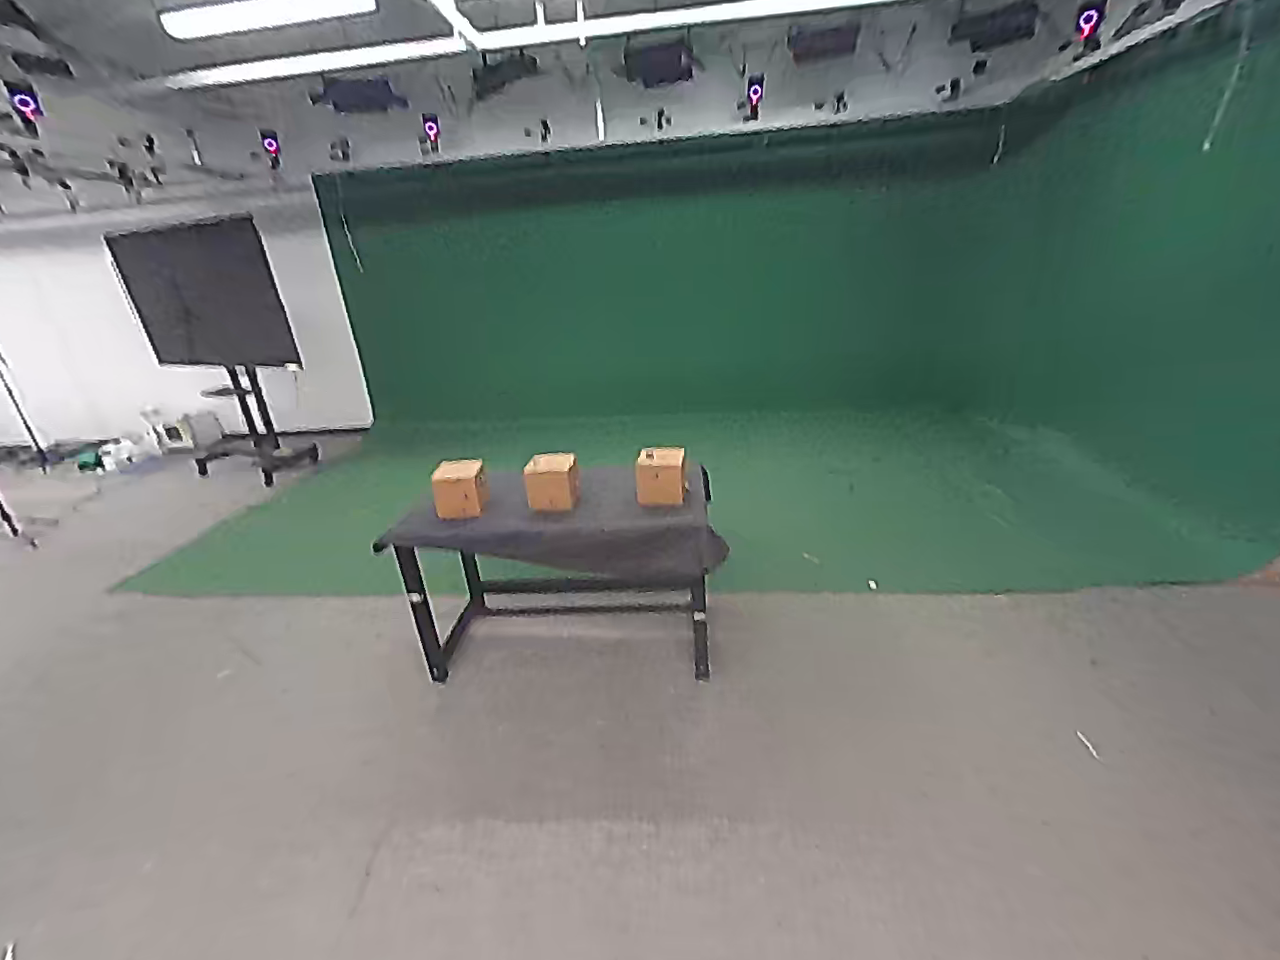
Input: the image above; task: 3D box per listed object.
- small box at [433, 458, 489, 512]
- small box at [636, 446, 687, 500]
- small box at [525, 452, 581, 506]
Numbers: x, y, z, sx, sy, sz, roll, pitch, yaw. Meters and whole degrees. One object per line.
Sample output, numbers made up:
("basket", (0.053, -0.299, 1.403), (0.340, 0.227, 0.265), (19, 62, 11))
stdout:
("small box", (-0.710, 0.024, 2.168), (0.168, 0.176, 0.179), (-4, 21, -3))
("small box", (0.089, -0.027, 2.133), (0.179, 0.176, 0.168), (1, 24, 11))
("small box", (-0.341, -0.003, 2.162), (0.179, 0.176, 0.168), (0, 23, 7))
